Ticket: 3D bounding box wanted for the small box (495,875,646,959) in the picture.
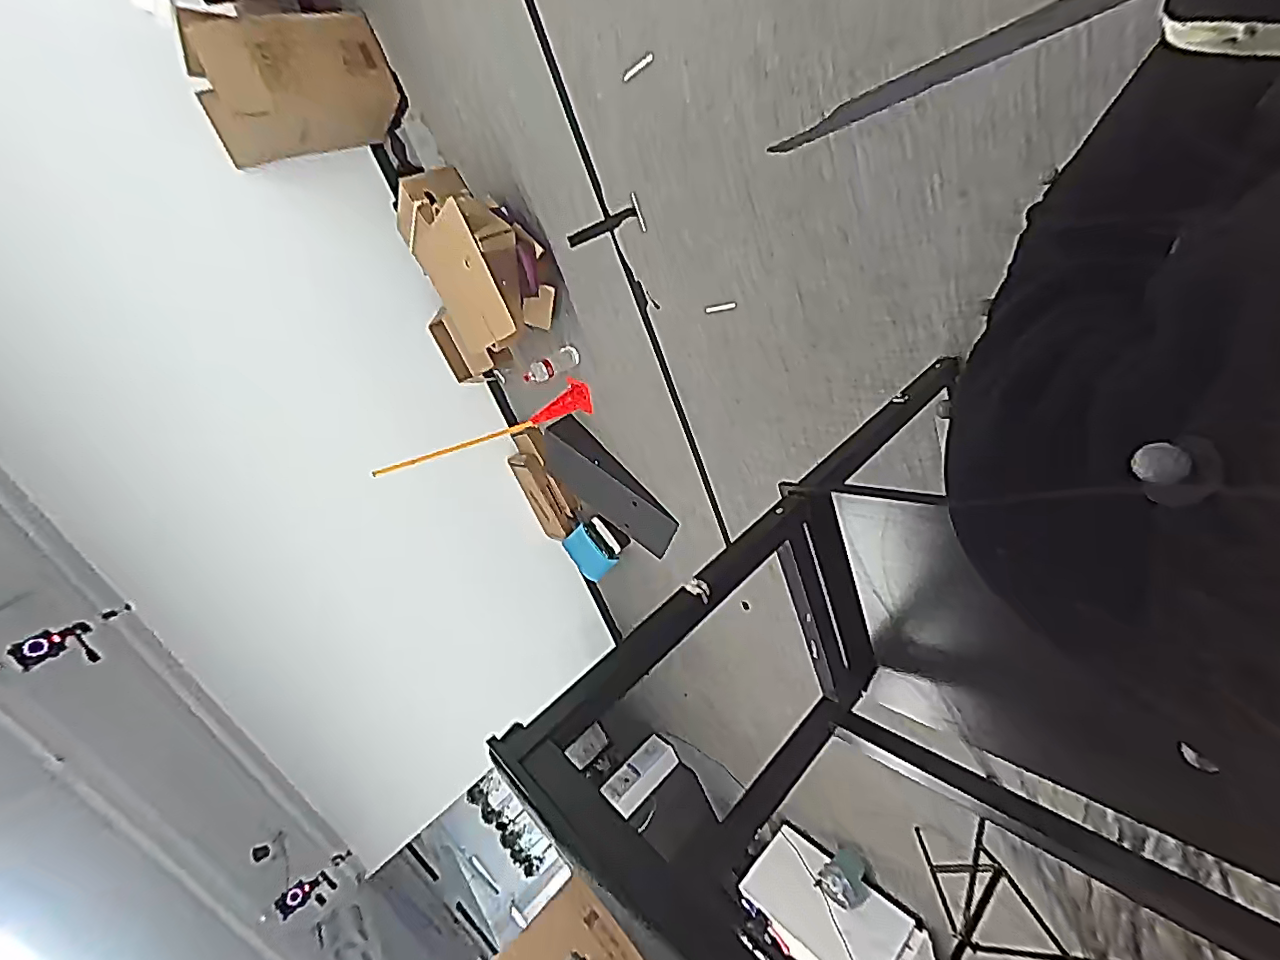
[{"bbox_3d":[-0.053,0.578,0.564,0.168,0.176,0.179,10,129,51],"label":"small box"}]
